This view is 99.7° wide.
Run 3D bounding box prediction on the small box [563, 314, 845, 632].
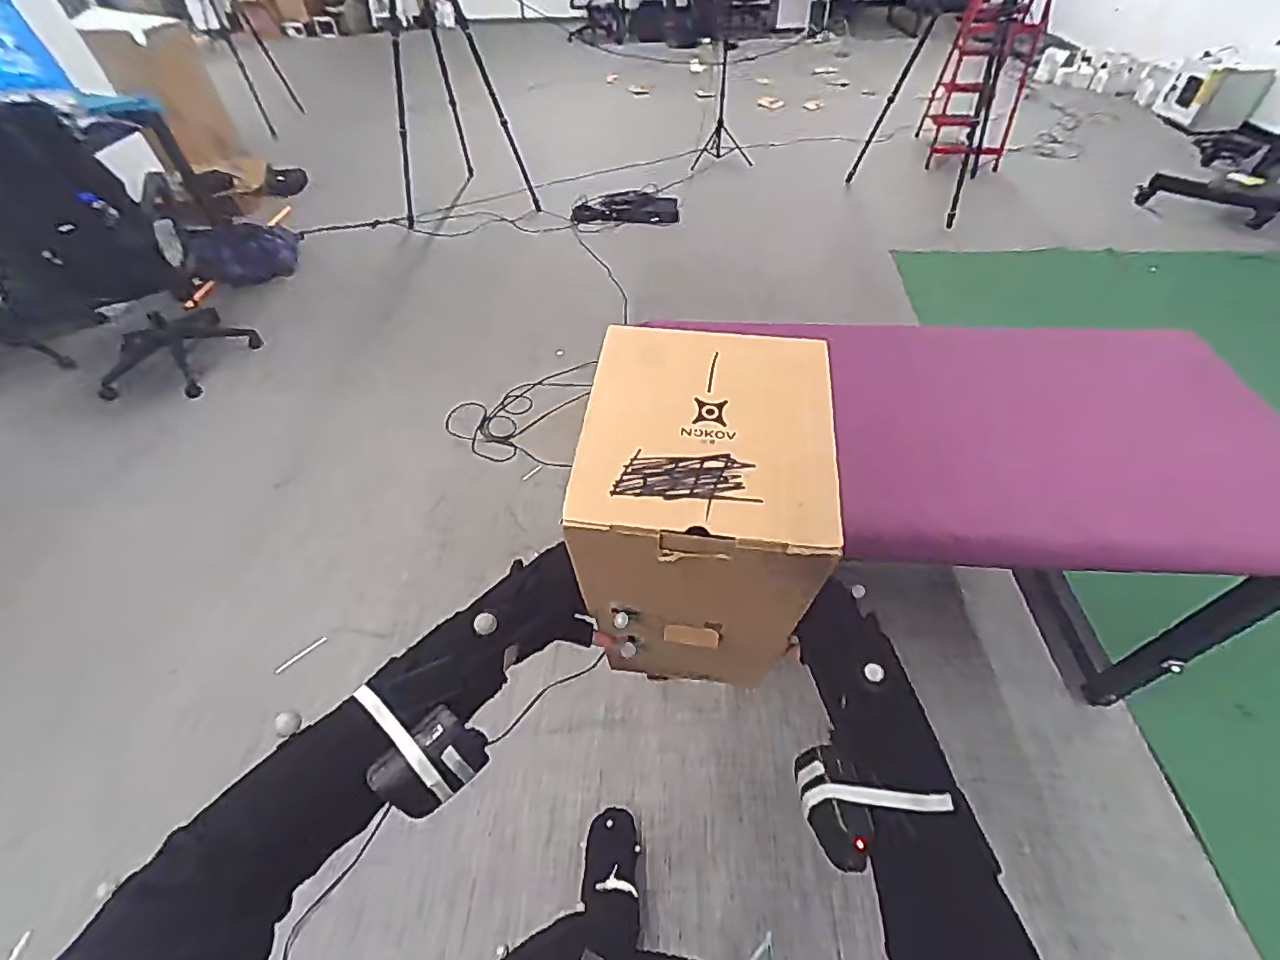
[{"bbox_3d":[0.051,0.002,0.420,0.168,0.176,0.179,9,59,6],"label":"small box"}]
